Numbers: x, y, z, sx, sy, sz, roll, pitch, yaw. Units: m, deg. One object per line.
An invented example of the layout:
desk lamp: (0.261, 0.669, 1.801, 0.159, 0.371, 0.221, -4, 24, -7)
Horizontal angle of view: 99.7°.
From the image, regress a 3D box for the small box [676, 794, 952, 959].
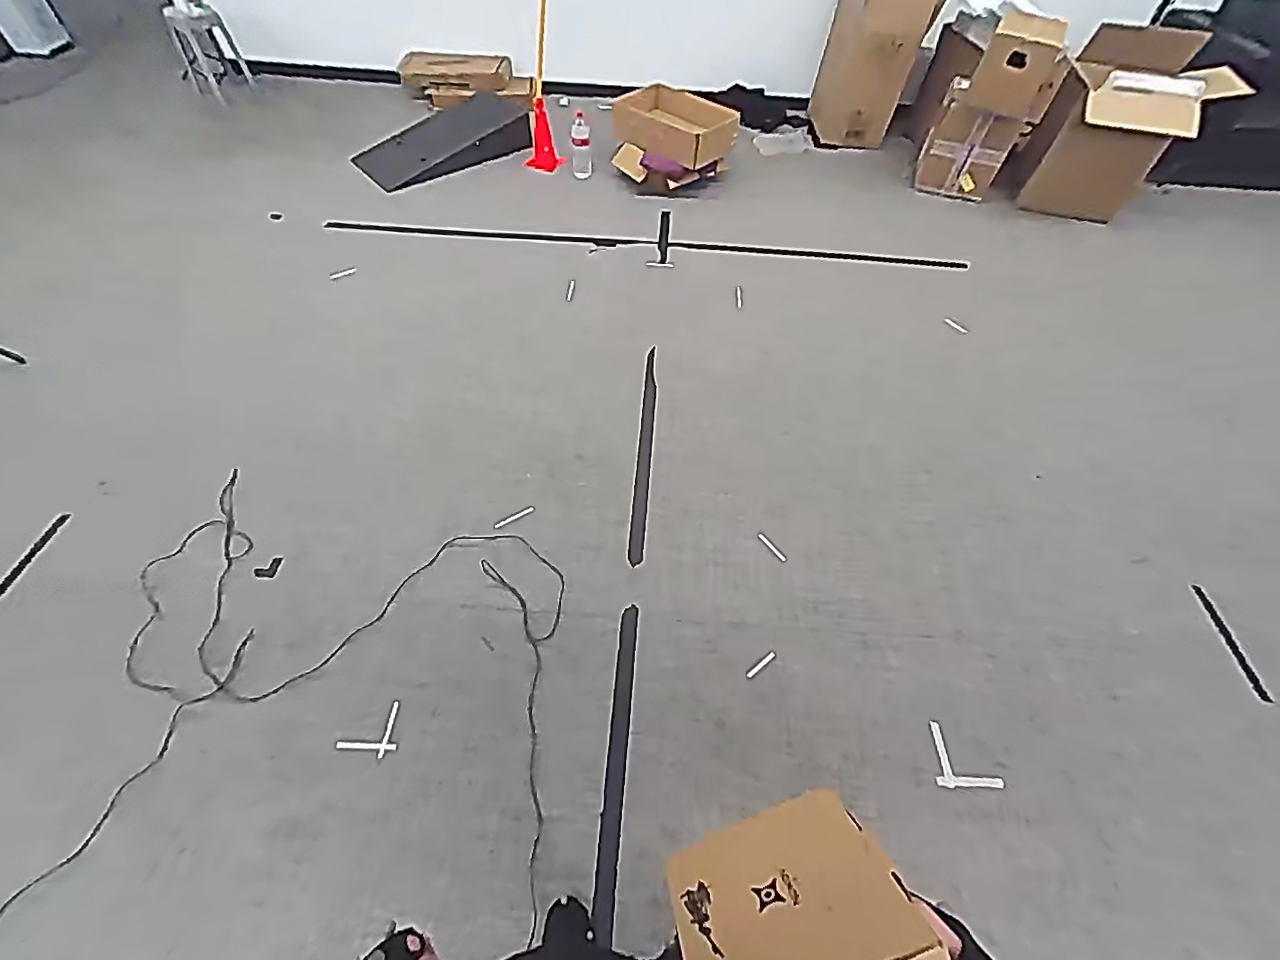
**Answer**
small box: (0.148, 0.417, 0.451, 0.179, 0.168, 0.176, -20, 94, -5)
